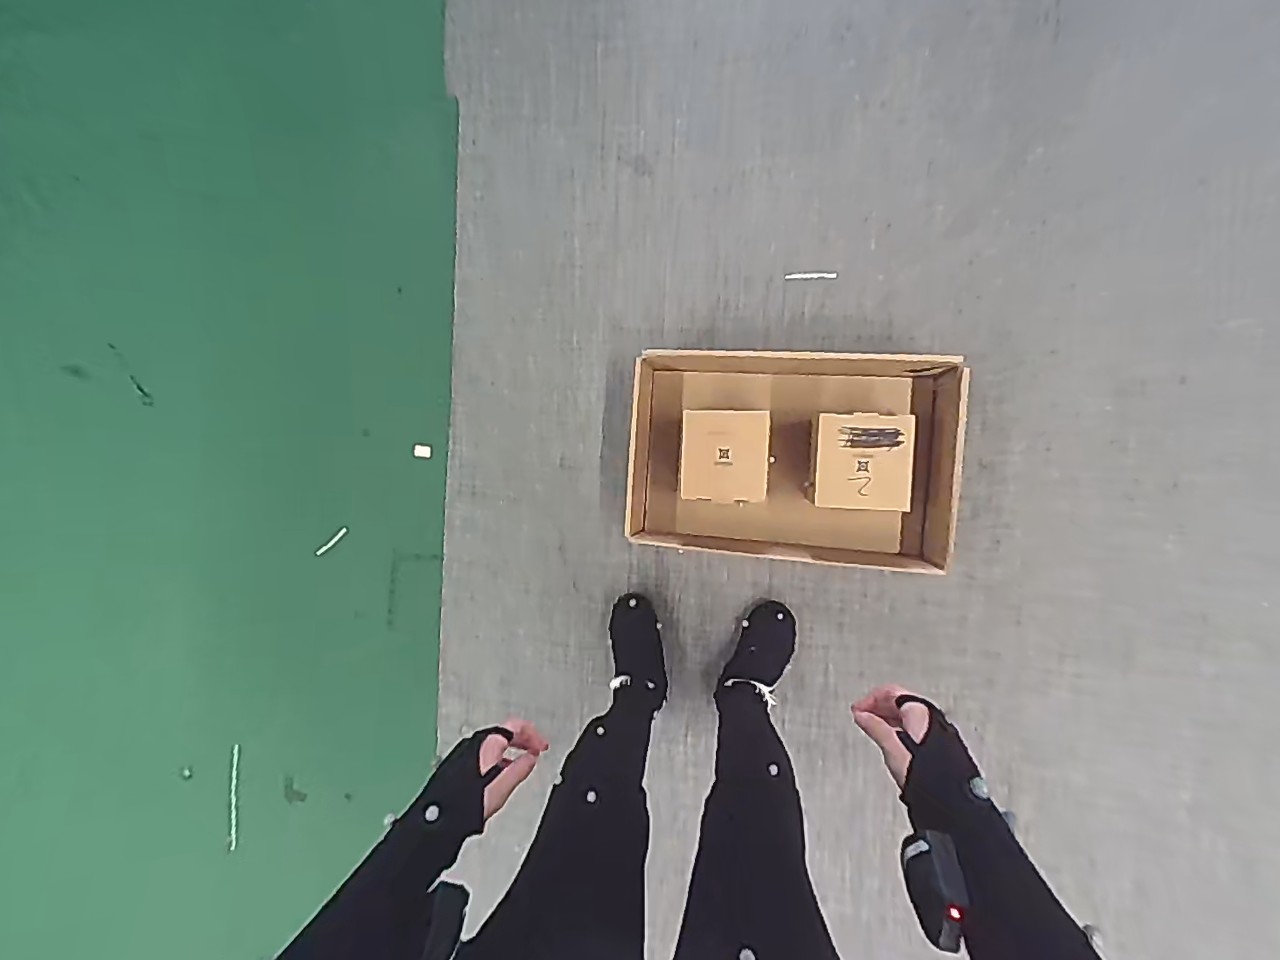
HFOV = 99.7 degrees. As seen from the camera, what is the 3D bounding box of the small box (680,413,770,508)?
[{"bbox_3d":[0.178,-0.040,1.112,0.168,0.176,0.179,3,91,11],"label":"small box"}]
